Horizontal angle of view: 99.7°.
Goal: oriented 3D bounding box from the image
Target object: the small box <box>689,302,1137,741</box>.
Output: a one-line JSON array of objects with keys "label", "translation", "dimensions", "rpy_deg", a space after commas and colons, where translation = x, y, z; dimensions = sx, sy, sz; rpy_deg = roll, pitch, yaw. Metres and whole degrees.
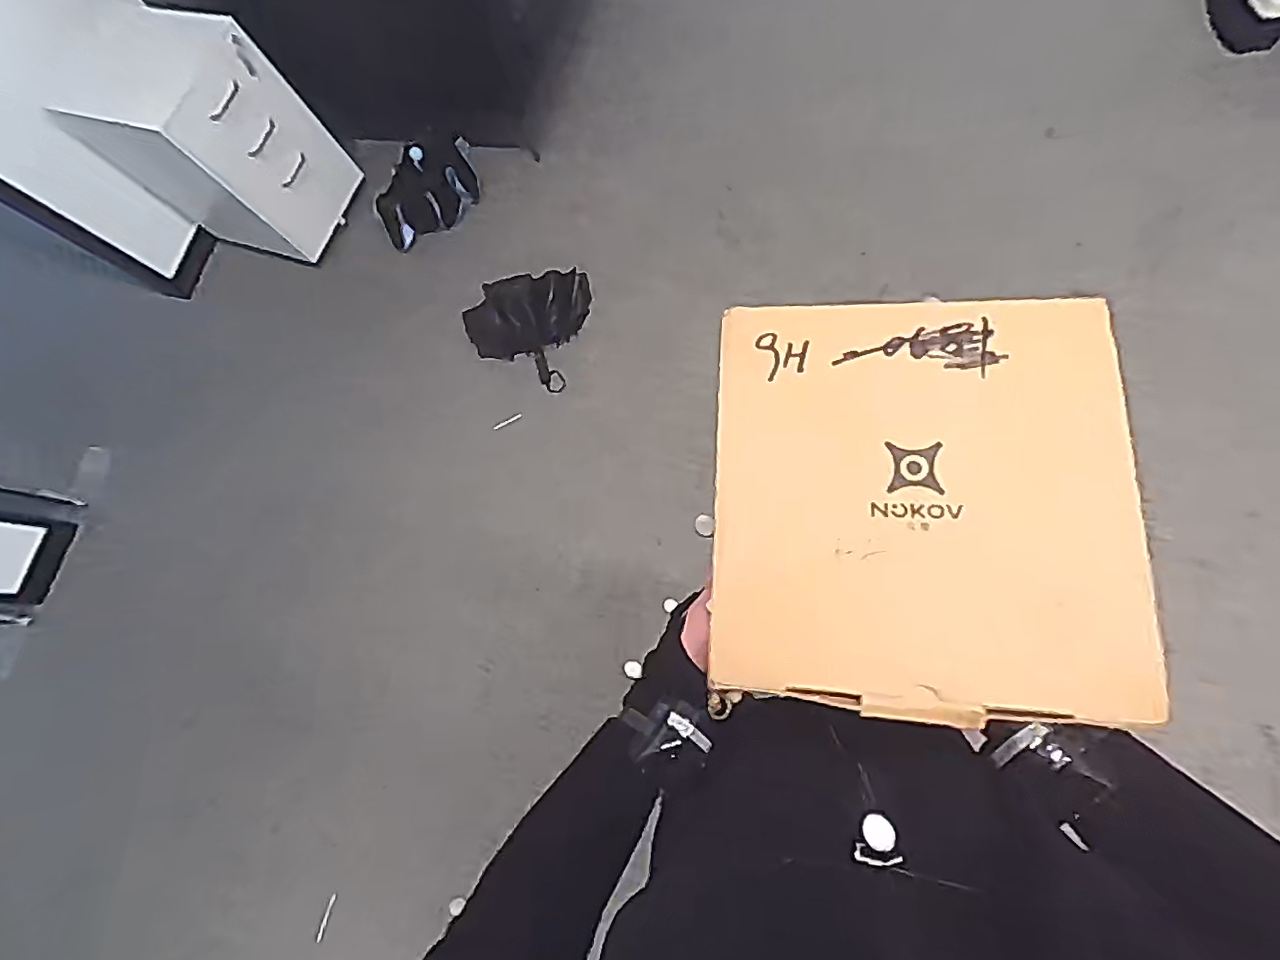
[{"label": "small box", "translation": [0.122, 0.022, 0.303], "dimensions": [0.168, 0.176, 0.179], "rpy_deg": [2, 79, 10]}]
